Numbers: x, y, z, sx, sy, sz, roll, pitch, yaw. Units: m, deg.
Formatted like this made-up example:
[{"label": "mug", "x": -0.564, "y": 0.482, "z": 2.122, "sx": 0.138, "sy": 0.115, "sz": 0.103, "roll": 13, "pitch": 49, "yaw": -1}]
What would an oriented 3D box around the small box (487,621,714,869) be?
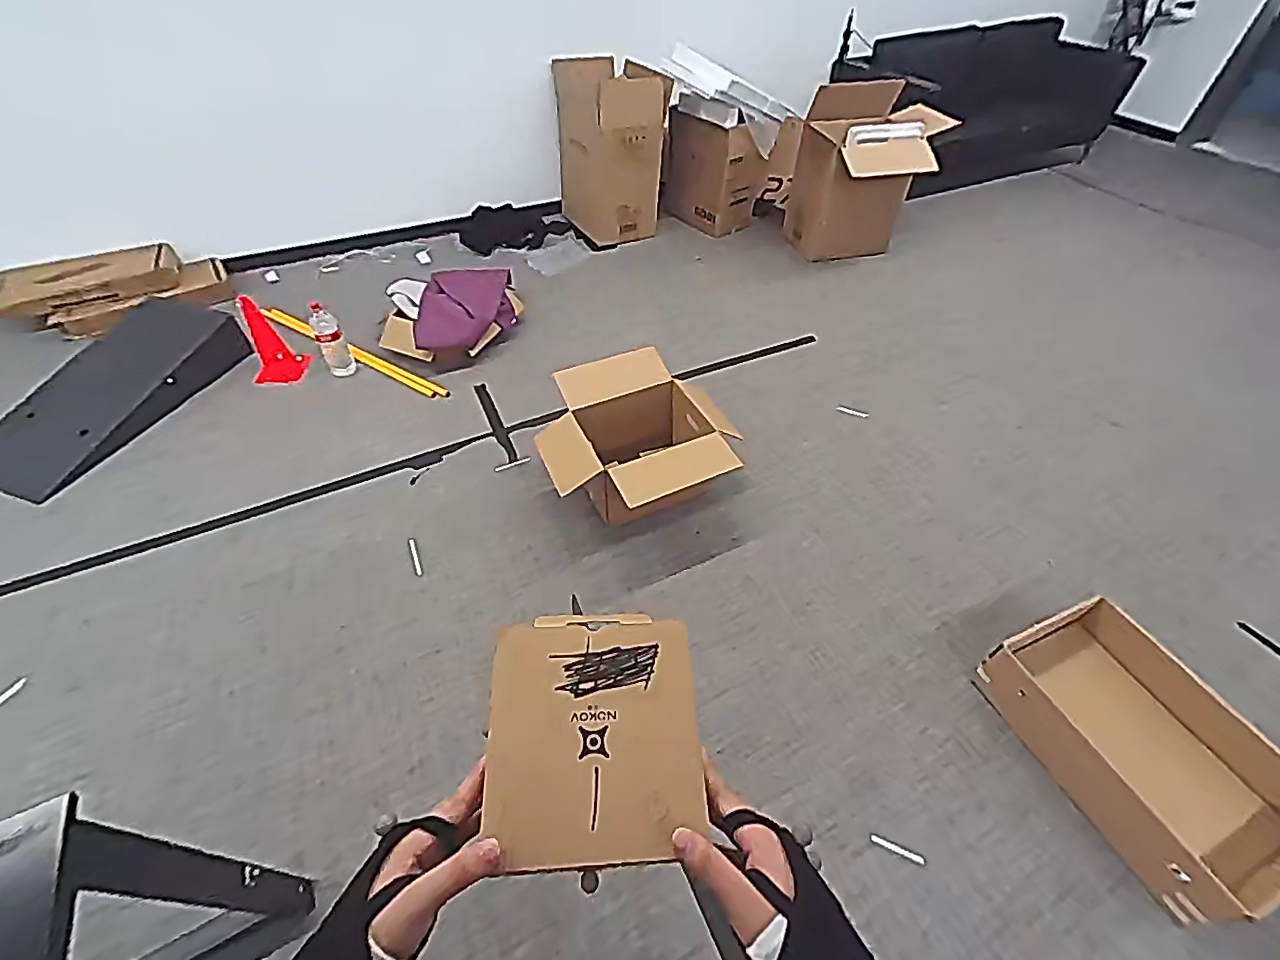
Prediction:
[{"label": "small box", "x": -0.037, "y": 0.245, "z": 0.497, "sx": 0.168, "sy": 0.176, "sz": 0.179, "roll": -1, "pitch": 55, "yaw": -5}]
